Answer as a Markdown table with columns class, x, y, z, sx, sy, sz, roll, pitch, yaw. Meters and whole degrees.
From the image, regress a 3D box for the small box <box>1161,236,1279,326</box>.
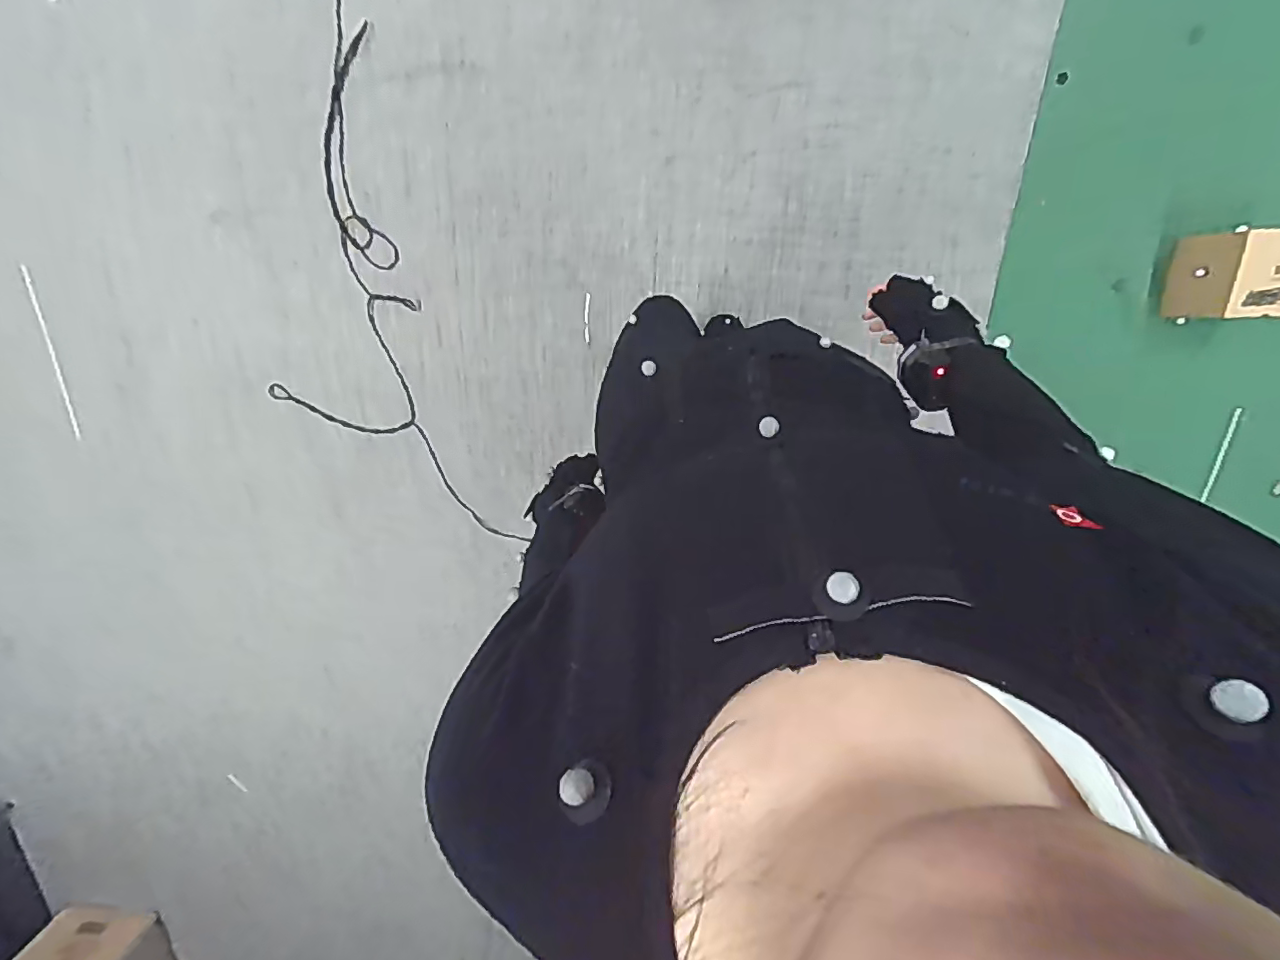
| class | x | y | z | sx | sy | sz | roll | pitch | yaw |
| --- | --- | --- | --- | --- | --- | --- | --- | --- | --- |
| small box | 1.314 | -0.434 | 1.190 | 0.168 | 0.176 | 0.179 | 1 | 107 | 4 |
